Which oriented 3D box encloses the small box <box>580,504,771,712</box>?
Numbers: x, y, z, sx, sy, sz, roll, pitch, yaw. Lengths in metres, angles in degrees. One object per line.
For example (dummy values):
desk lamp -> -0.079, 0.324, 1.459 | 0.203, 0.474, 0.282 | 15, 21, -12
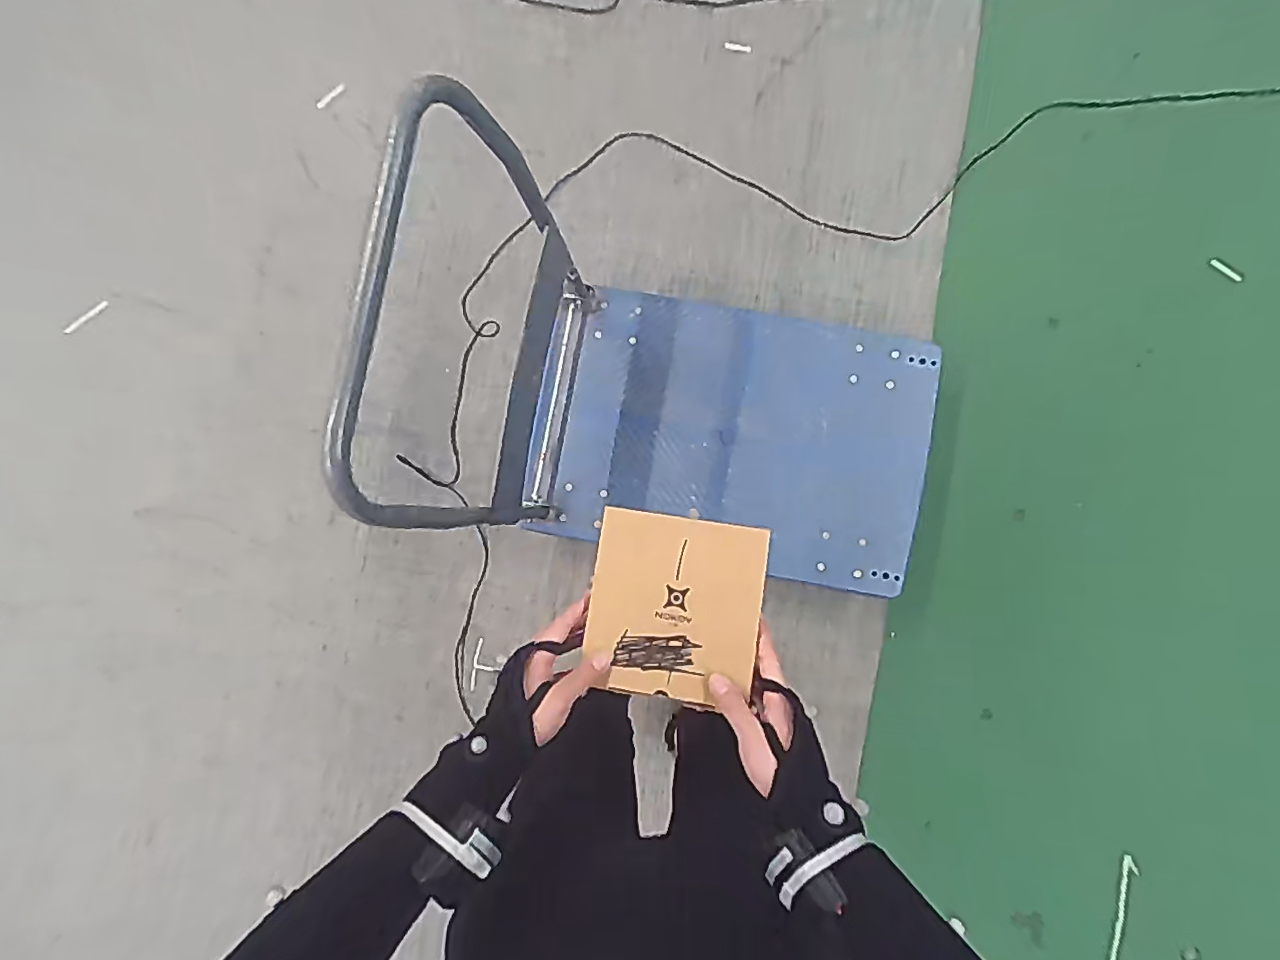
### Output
small box -> 0.042, 0.131, 0.601 | 0.168, 0.176, 0.179 | 8, 83, 6
